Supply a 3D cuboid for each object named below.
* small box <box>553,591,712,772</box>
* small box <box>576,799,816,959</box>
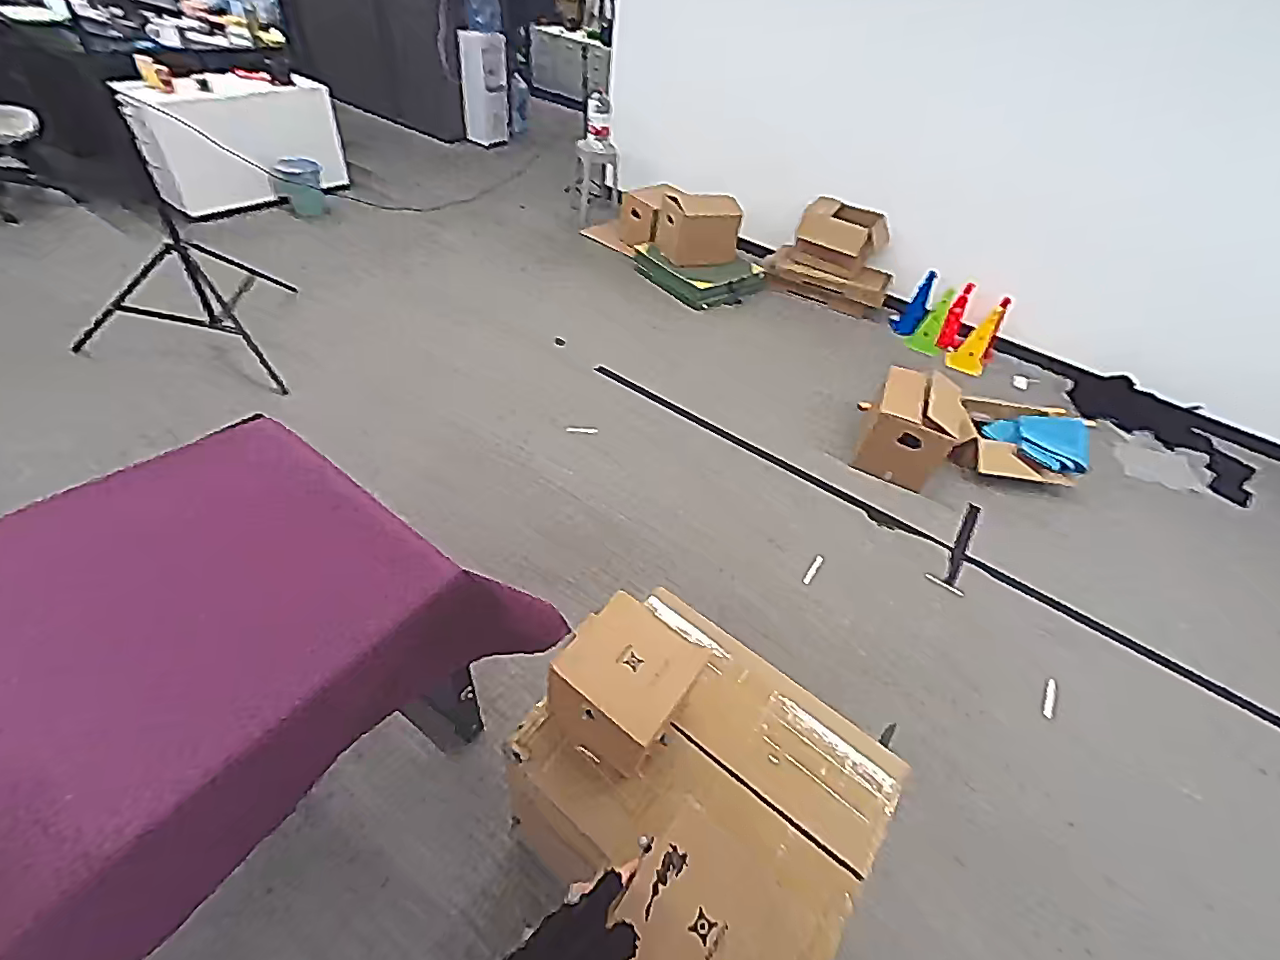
[{"bbox_3d":[-0.019,0.314,0.837,0.179,0.176,0.168,33,51,19],"label":"small box"},{"bbox_3d":[0.050,0.480,0.596,0.179,0.176,0.168,40,60,11],"label":"small box"}]
